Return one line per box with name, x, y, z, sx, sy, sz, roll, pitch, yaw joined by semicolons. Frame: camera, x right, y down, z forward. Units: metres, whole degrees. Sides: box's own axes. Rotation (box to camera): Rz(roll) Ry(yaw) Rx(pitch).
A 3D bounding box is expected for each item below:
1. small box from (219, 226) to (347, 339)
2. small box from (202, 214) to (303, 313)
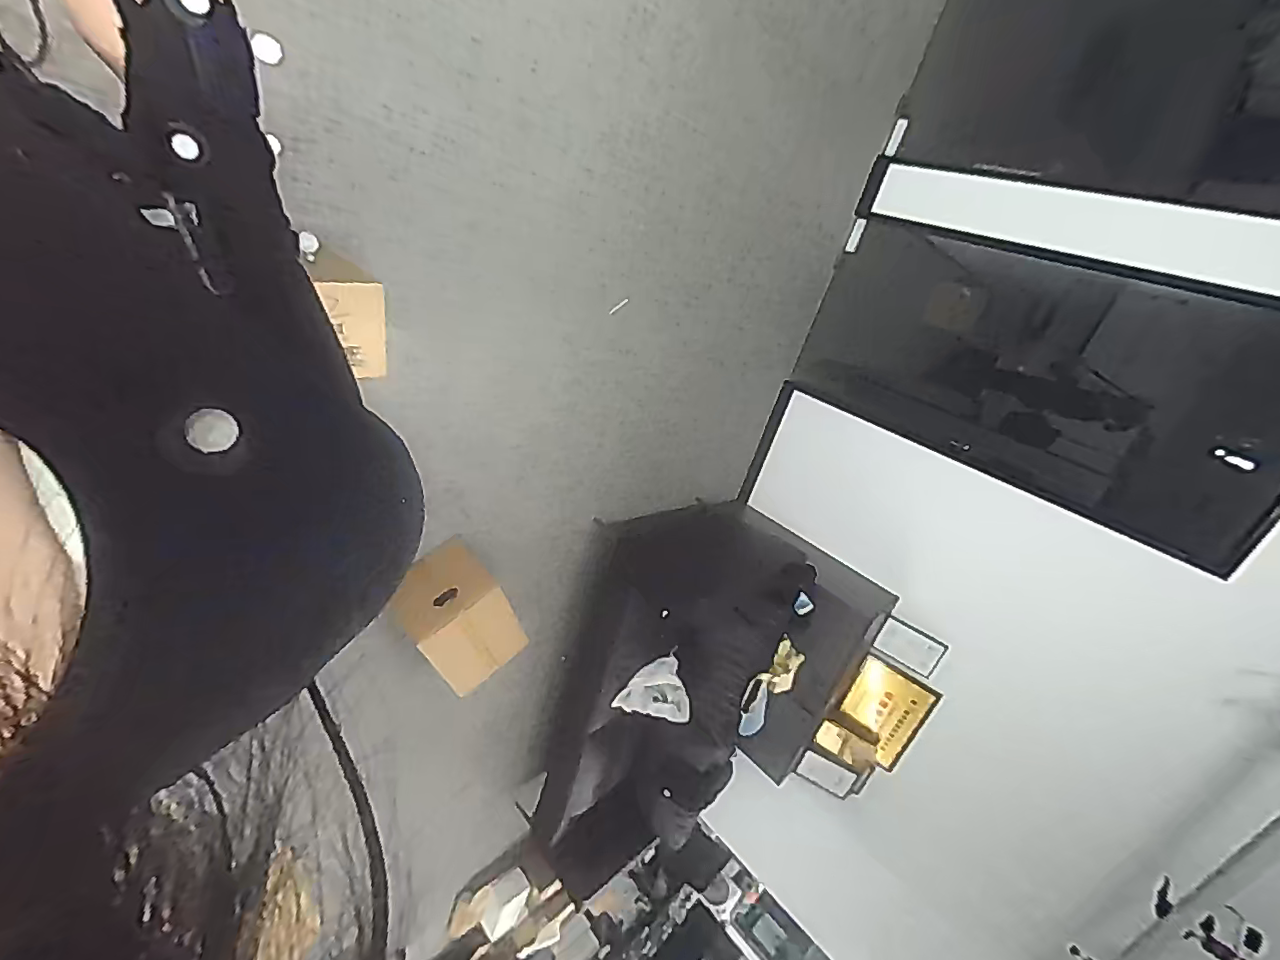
small box;-0.701;-0.387;1.064;0.179;0.176;0.168;-16;132;-45
small box;-0.815;-0.456;1.158;0.179;0.176;0.168;-11;128;-46
